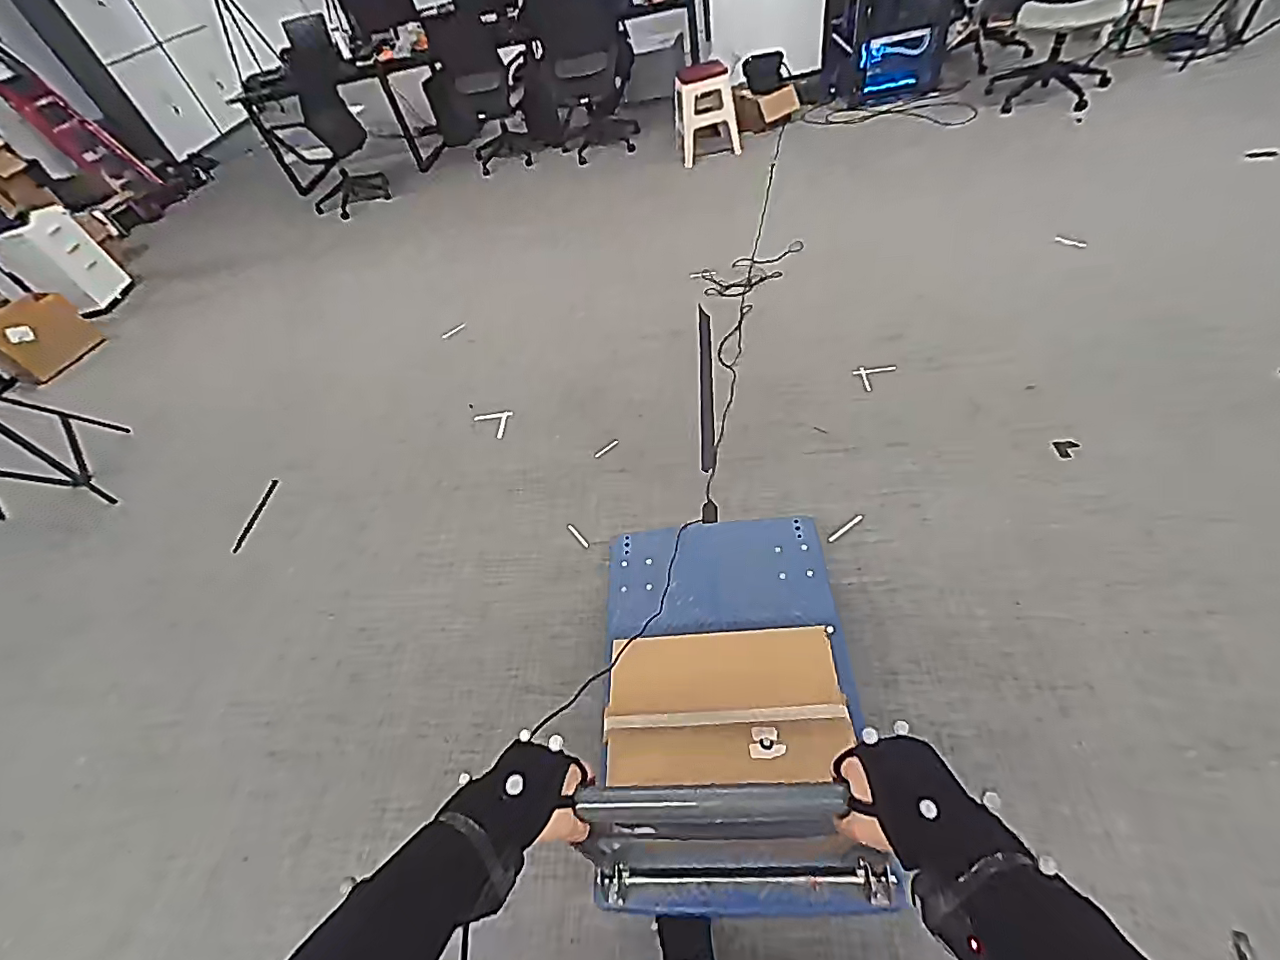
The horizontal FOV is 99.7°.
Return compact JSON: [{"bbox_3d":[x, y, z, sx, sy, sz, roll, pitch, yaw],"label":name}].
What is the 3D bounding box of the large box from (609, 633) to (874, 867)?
[{"bbox_3d":[0.169,0.512,1.012,0.408,0.320,0.320,-6,48,8],"label":"large box"}]
